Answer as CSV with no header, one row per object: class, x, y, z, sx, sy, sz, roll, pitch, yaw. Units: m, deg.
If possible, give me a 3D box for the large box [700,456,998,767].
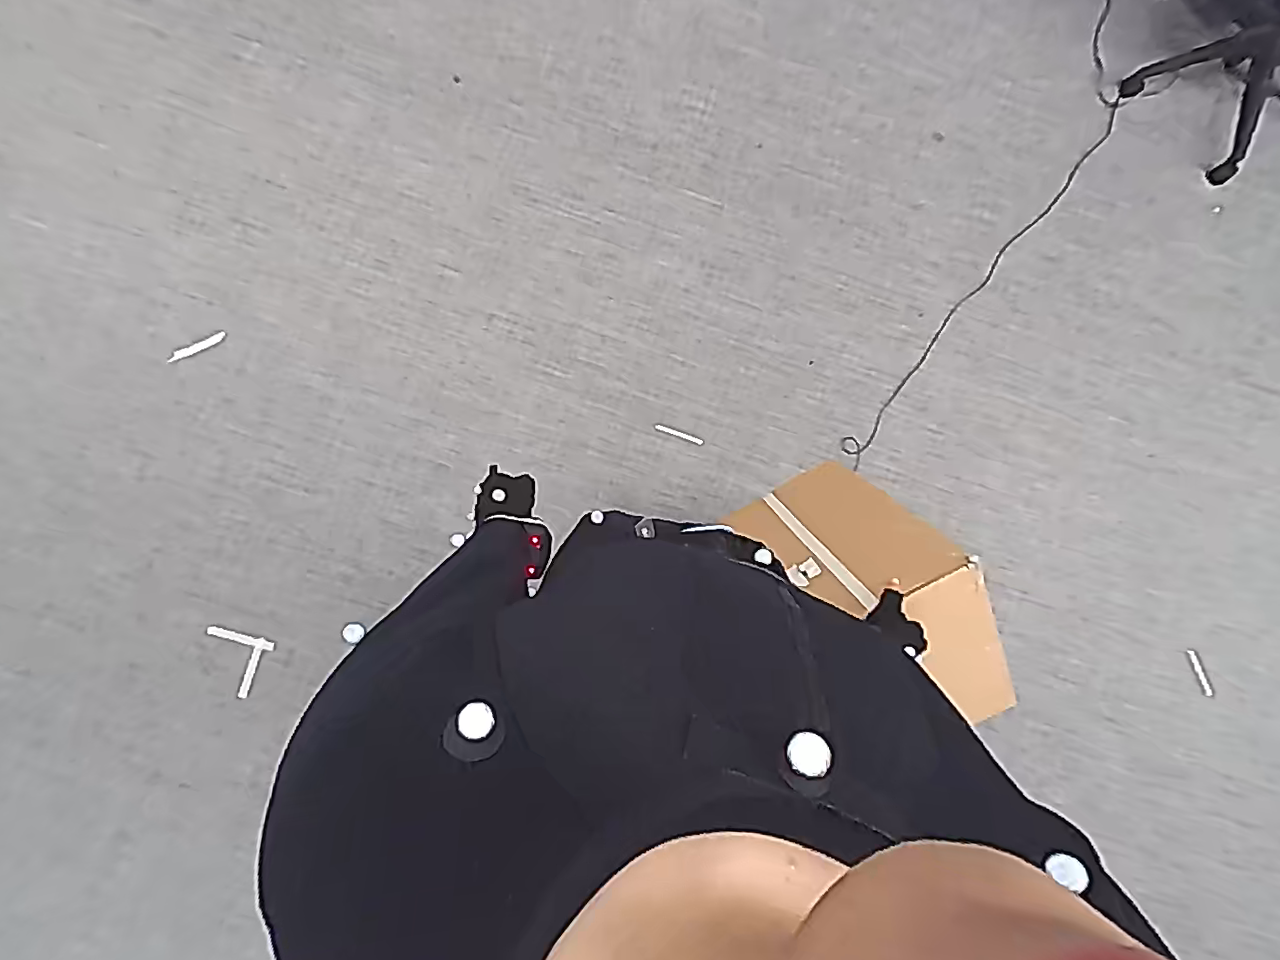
large box,0.357,0.215,1.000,0.320,0.408,0.320,-30,116,3
